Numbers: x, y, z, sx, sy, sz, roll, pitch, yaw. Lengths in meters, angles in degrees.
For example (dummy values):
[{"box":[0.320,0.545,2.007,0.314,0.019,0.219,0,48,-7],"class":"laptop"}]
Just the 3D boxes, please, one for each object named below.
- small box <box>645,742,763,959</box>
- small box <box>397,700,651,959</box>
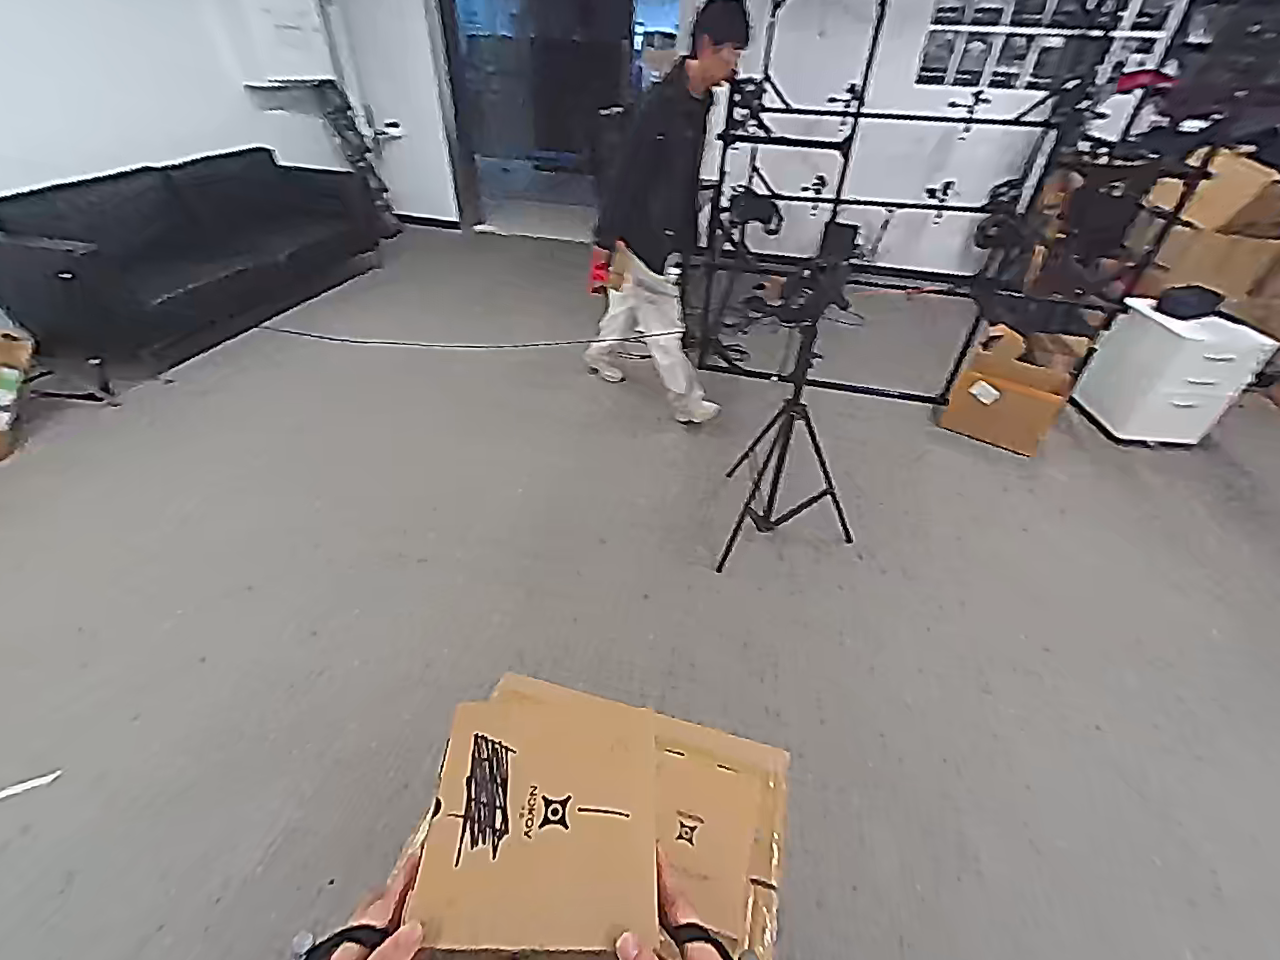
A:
[{"box":[0.060,0.488,0.715,0.168,0.176,0.179,10,41,13],"class":"small box"},{"box":[-0.084,0.311,0.478,0.179,0.176,0.168,2,45,-3],"class":"small box"}]
